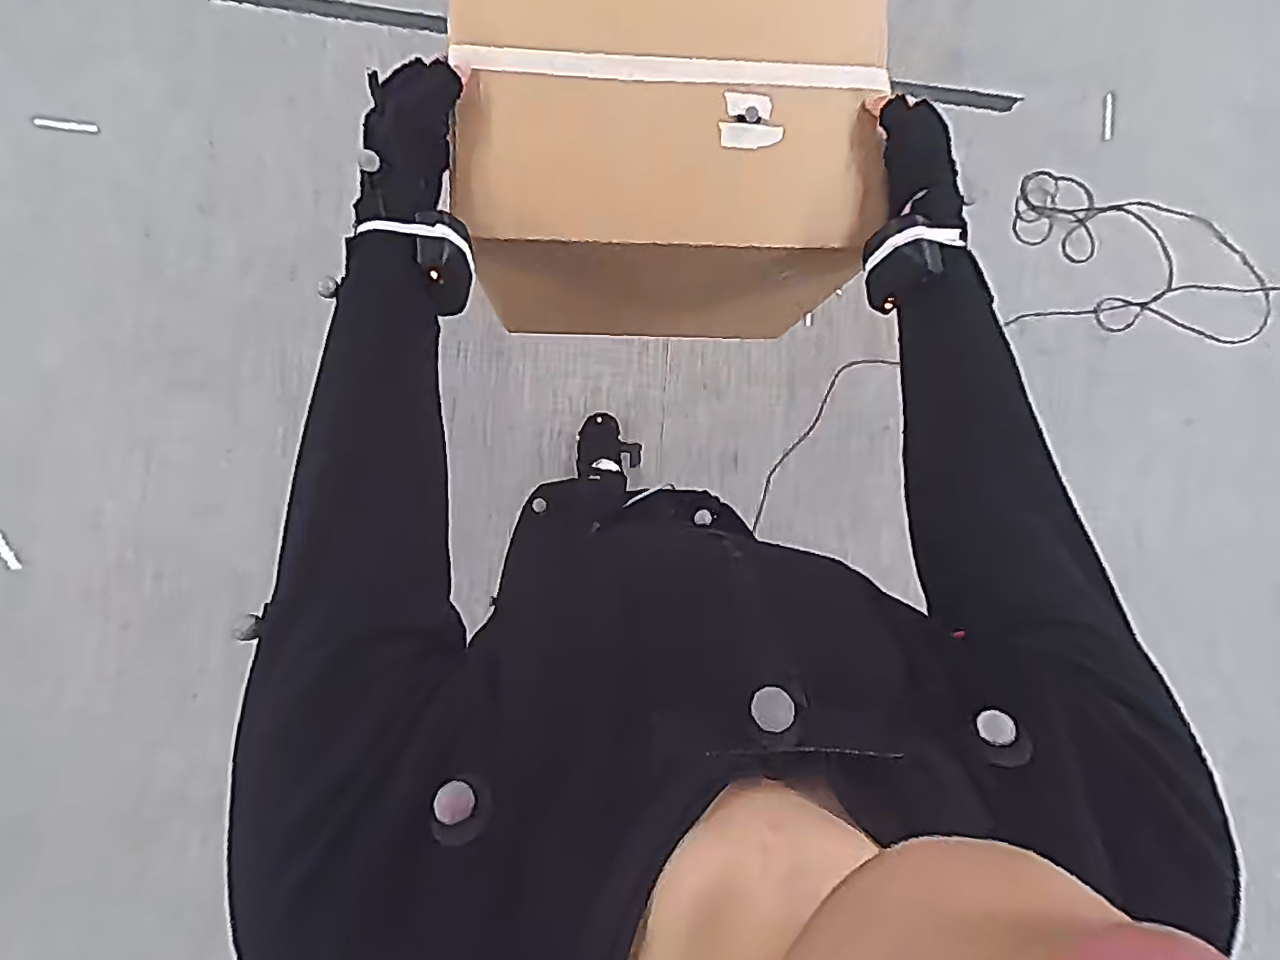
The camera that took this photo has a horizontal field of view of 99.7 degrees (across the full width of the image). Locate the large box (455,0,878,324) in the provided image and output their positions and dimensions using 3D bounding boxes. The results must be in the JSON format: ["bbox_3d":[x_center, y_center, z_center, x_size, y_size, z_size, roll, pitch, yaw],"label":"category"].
[{"bbox_3d":[0.015,-0.385,0.653,0.408,0.320,0.320,0,90,-6],"label":"large box"}]
